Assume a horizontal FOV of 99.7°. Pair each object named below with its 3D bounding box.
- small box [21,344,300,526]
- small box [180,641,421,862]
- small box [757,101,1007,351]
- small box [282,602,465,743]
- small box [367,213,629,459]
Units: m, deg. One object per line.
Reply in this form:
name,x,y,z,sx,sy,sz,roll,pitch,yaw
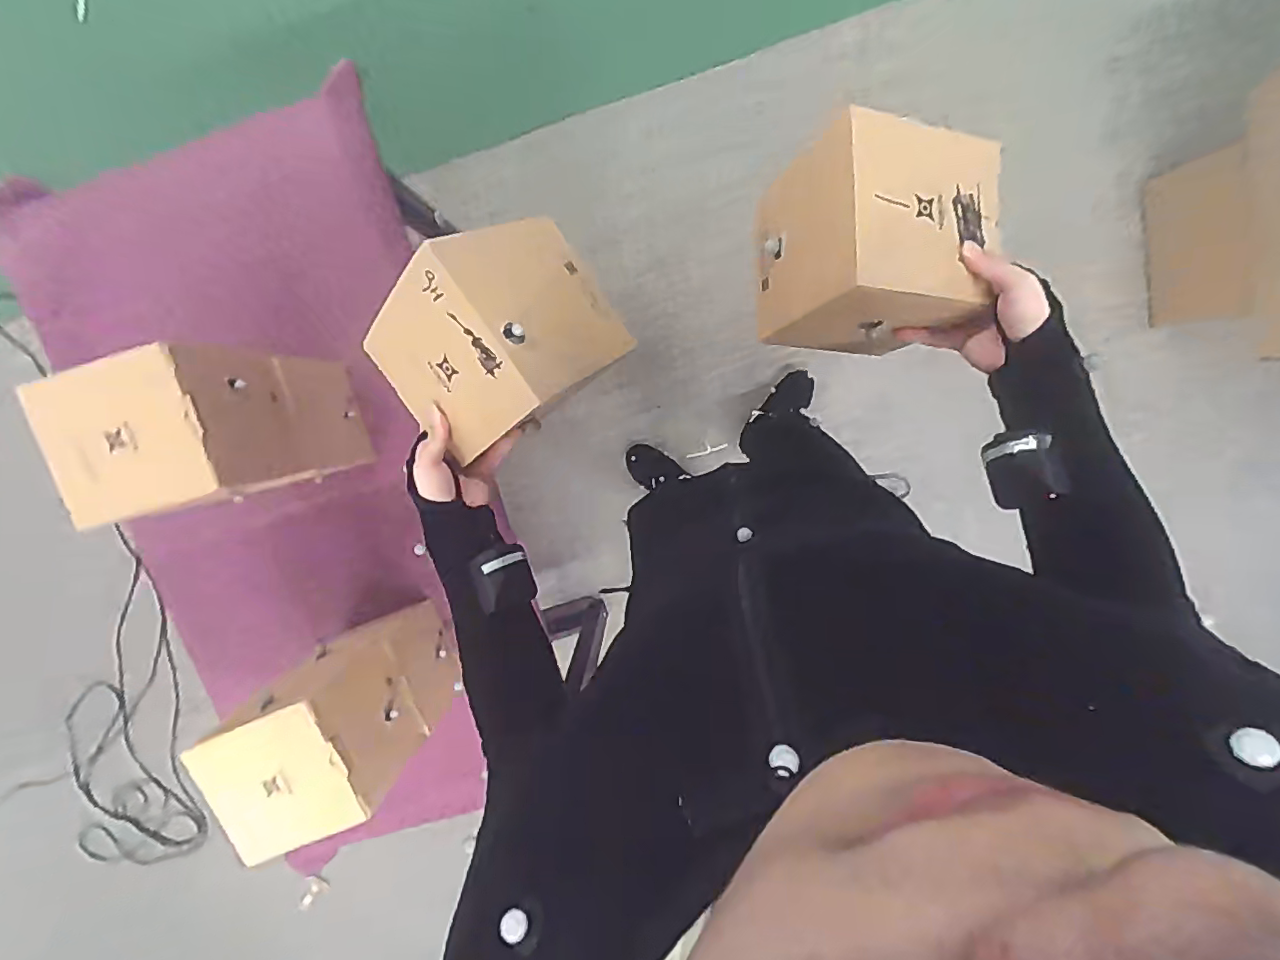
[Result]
small box,-0.558,-0.059,0.662,0.179,0.176,0.168,-15,97,4
small box,-0.429,0.344,0.715,0.179,0.176,0.168,-24,96,5
small box,0.242,-0.242,0.566,0.179,0.176,0.168,2,86,-17
small box,-0.418,0.323,0.876,0.179,0.176,0.168,-22,97,5
small box,-0.145,-0.152,0.574,0.179,0.176,0.168,-27,100,43
